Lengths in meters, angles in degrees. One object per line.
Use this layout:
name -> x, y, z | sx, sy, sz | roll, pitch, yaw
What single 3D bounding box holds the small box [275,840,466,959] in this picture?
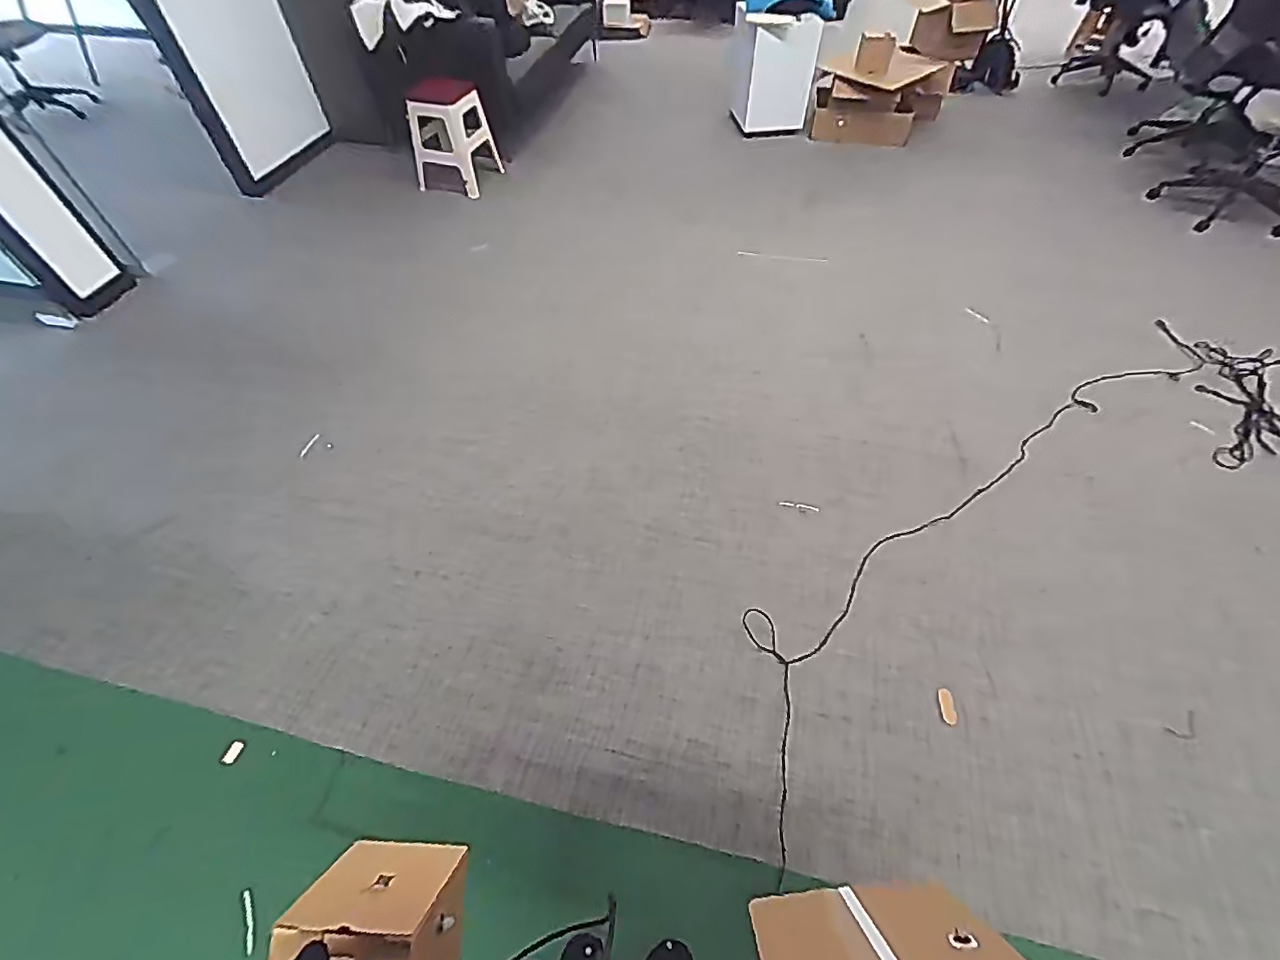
small box -> -0.338, 0.599, 0.687 | 0.168, 0.179, 0.176 | 2, 86, 3
